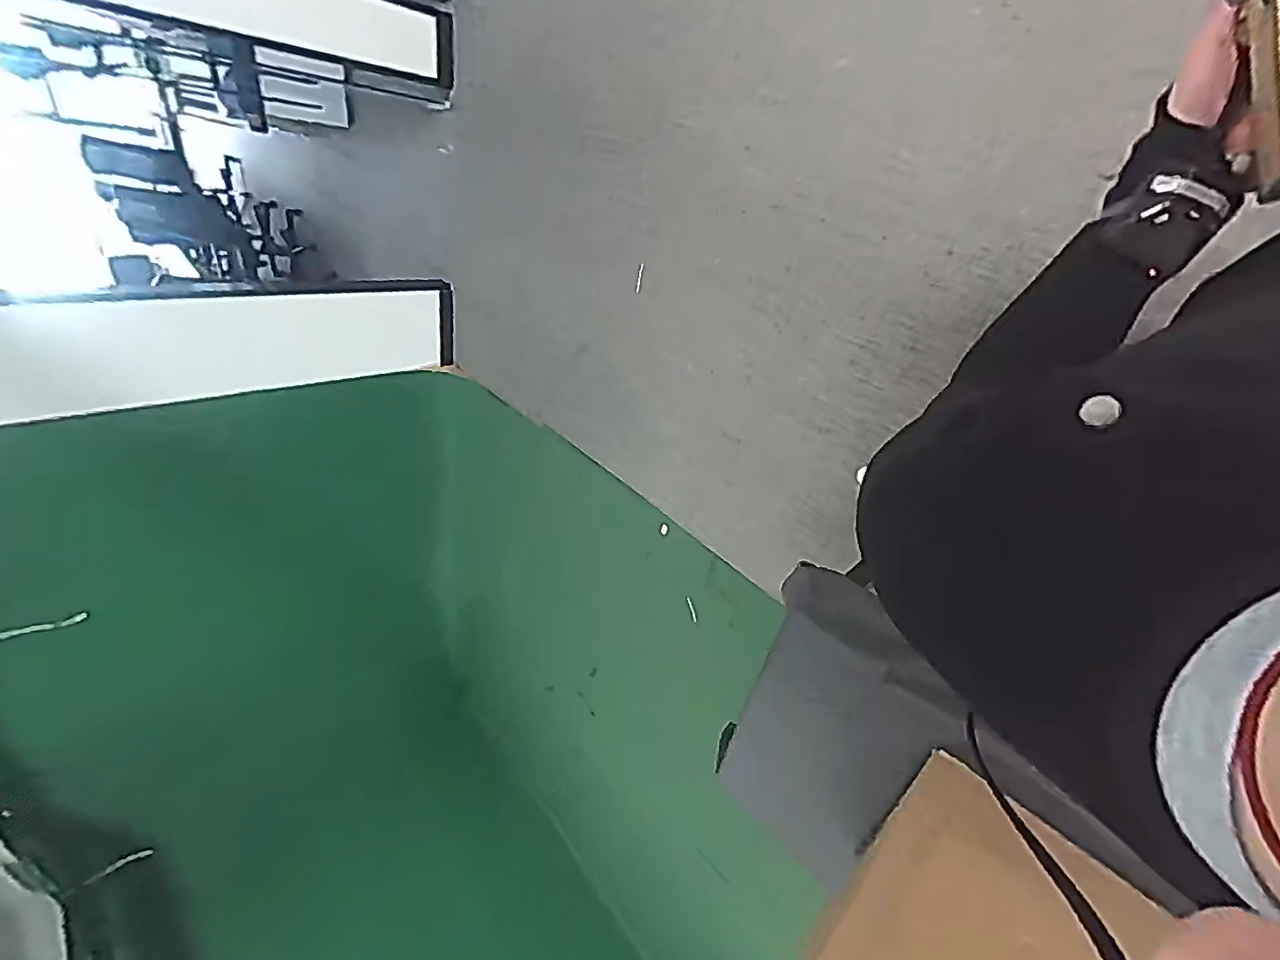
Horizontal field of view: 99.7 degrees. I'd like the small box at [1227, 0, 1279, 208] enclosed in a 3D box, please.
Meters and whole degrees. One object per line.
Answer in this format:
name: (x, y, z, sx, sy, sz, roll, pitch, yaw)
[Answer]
small box: (0.410, -0.257, 0.260, 0.168, 0.176, 0.179, -4, 102, 46)
